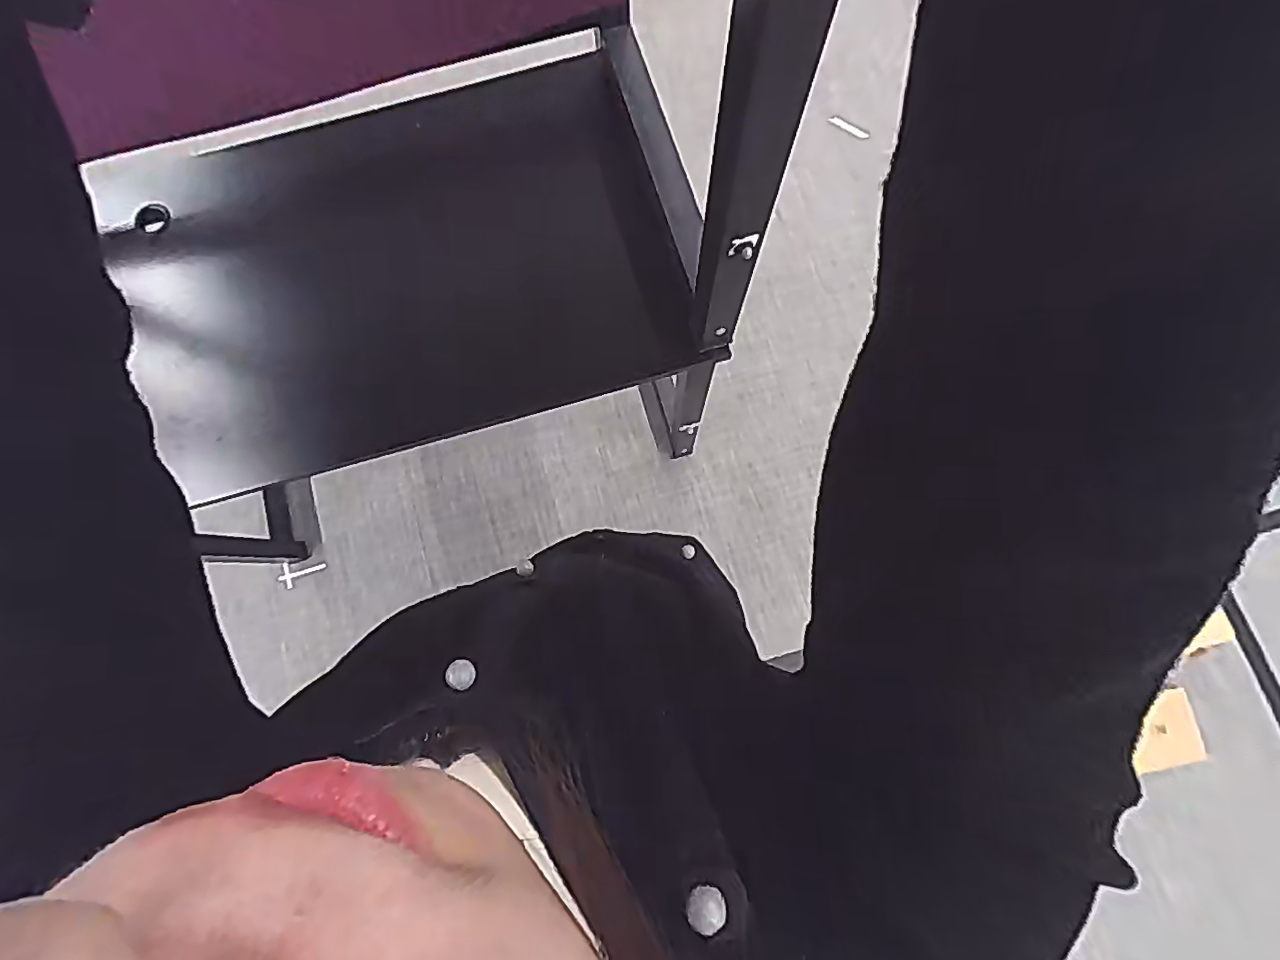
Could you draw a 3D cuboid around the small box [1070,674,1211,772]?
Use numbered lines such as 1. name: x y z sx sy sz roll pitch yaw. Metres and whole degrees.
1. small box: 1.210 0.588 1.327 0.179 0.176 0.168 -11 81 -1
